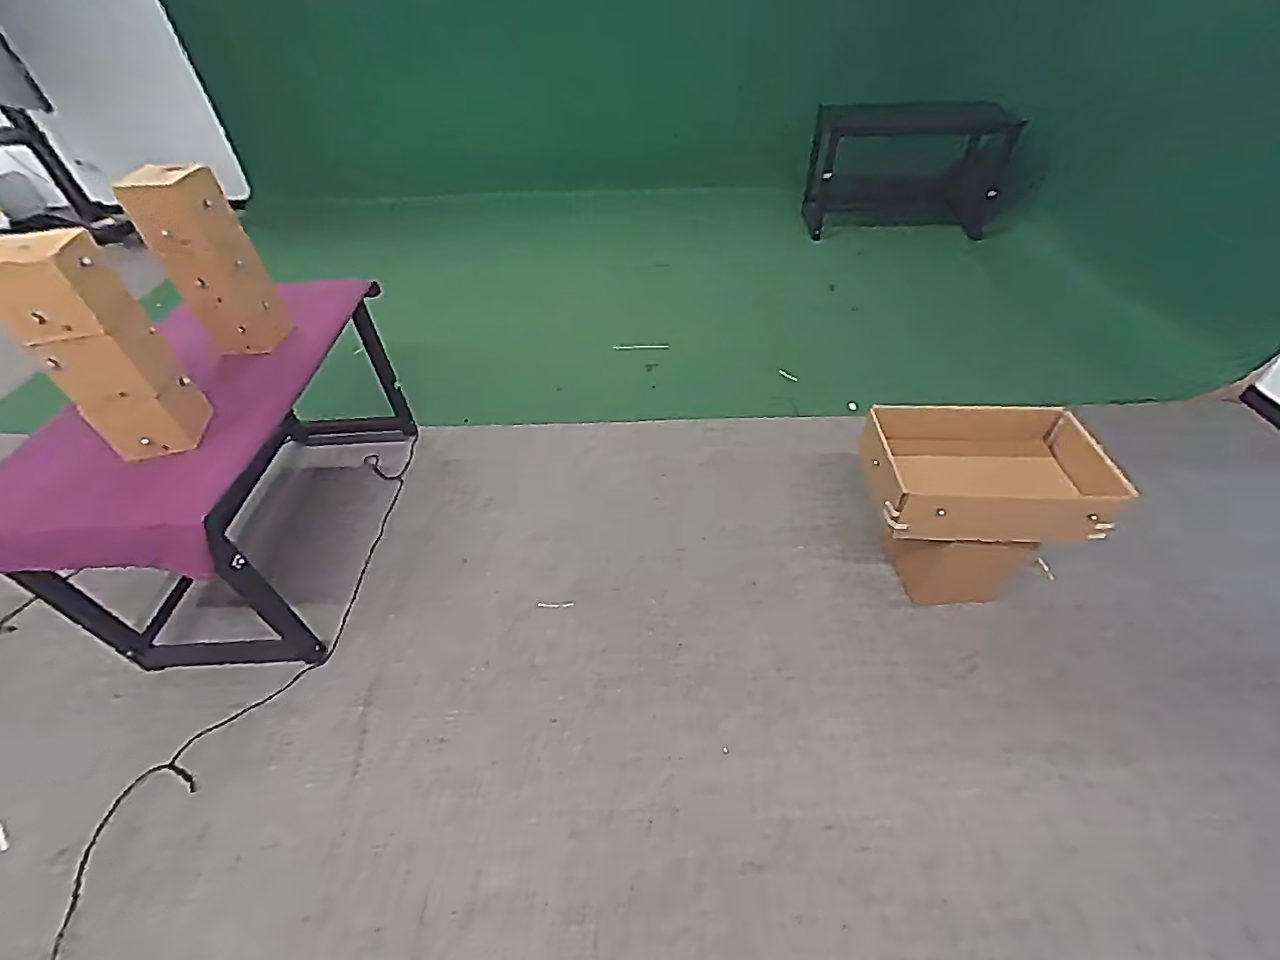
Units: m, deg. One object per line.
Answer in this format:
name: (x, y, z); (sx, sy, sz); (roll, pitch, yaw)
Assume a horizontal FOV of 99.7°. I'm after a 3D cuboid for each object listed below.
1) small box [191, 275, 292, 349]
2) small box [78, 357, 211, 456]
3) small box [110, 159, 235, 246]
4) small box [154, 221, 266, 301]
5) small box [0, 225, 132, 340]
small box: (-1.247, -0.528, 1.711); (0.168, 0.176, 0.179); (0, 46, 1)
small box: (-1.245, -0.188, 1.378); (0.168, 0.176, 0.179); (-12, 47, -9)
small box: (-1.259, -0.757, 1.476); (0.168, 0.176, 0.179); (-2, 47, -1)
small box: (-1.253, -0.641, 1.594); (0.168, 0.176, 0.179); (-1, 47, 0)
small box: (-1.245, -0.420, 1.148); (0.168, 0.176, 0.179); (-12, 46, -11)
